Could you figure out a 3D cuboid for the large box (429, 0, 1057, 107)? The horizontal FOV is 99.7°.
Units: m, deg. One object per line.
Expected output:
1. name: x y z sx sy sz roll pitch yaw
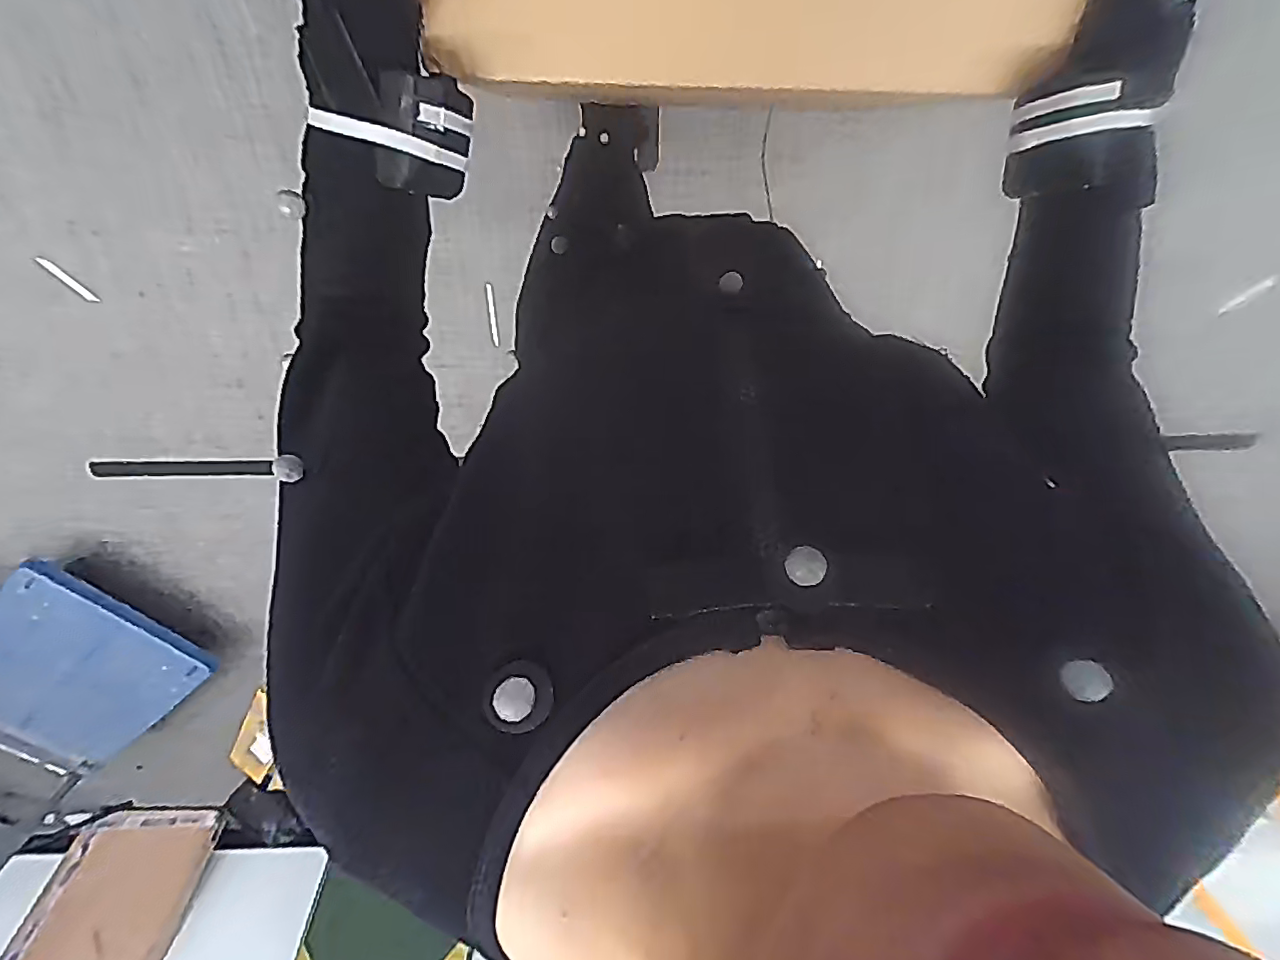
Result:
1. large box: 0.060 -0.476 0.402 0.408 0.320 0.320 -1 123 -3
